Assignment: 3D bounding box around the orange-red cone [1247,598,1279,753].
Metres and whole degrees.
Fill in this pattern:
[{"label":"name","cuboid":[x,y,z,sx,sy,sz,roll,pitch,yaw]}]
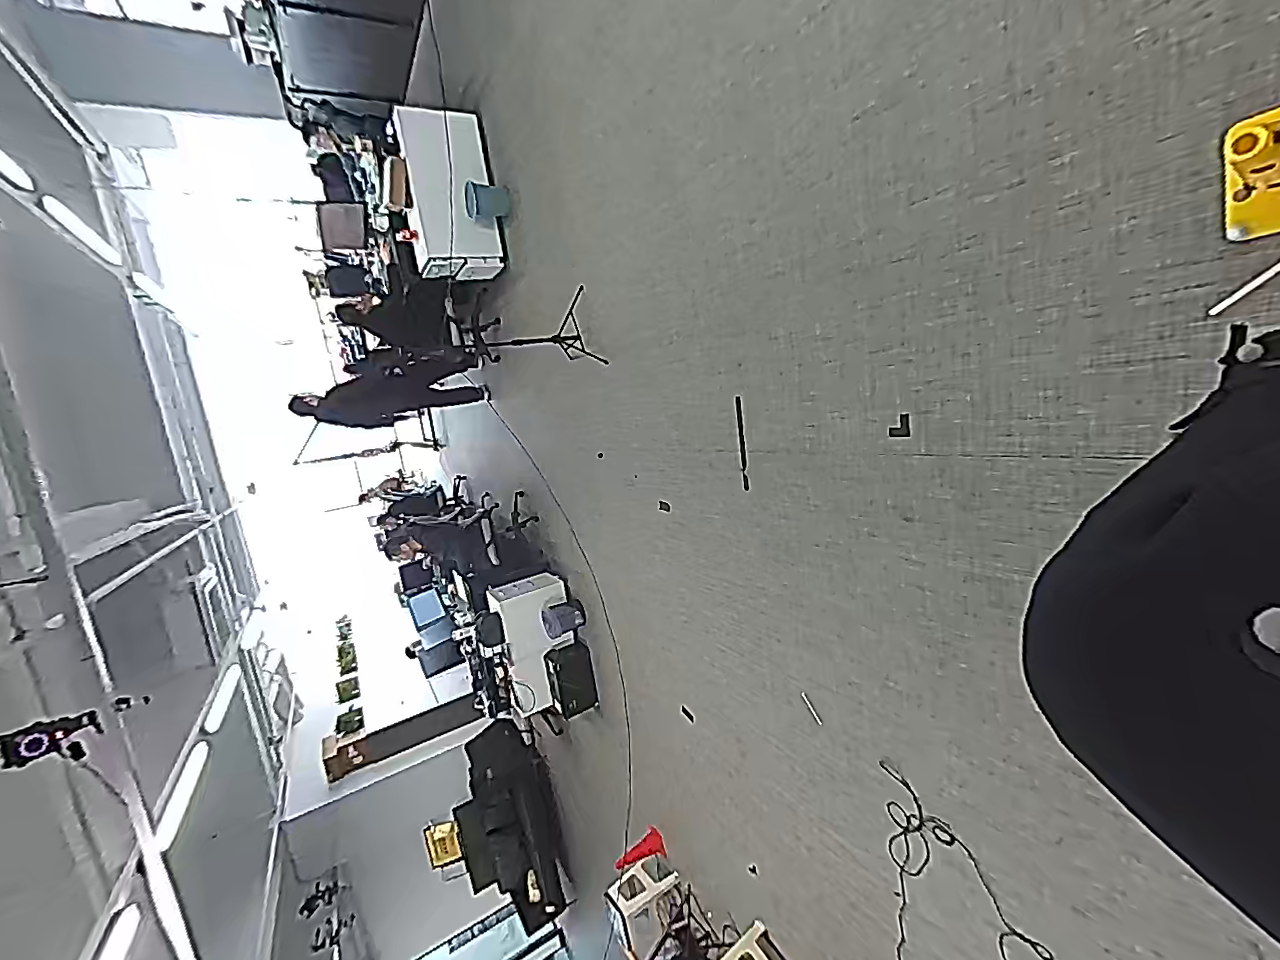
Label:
[{"label":"orange-red cone","cuboid":[1.102,0.360,0.893,0.199,0.360,0.198,18,116,59]}]
